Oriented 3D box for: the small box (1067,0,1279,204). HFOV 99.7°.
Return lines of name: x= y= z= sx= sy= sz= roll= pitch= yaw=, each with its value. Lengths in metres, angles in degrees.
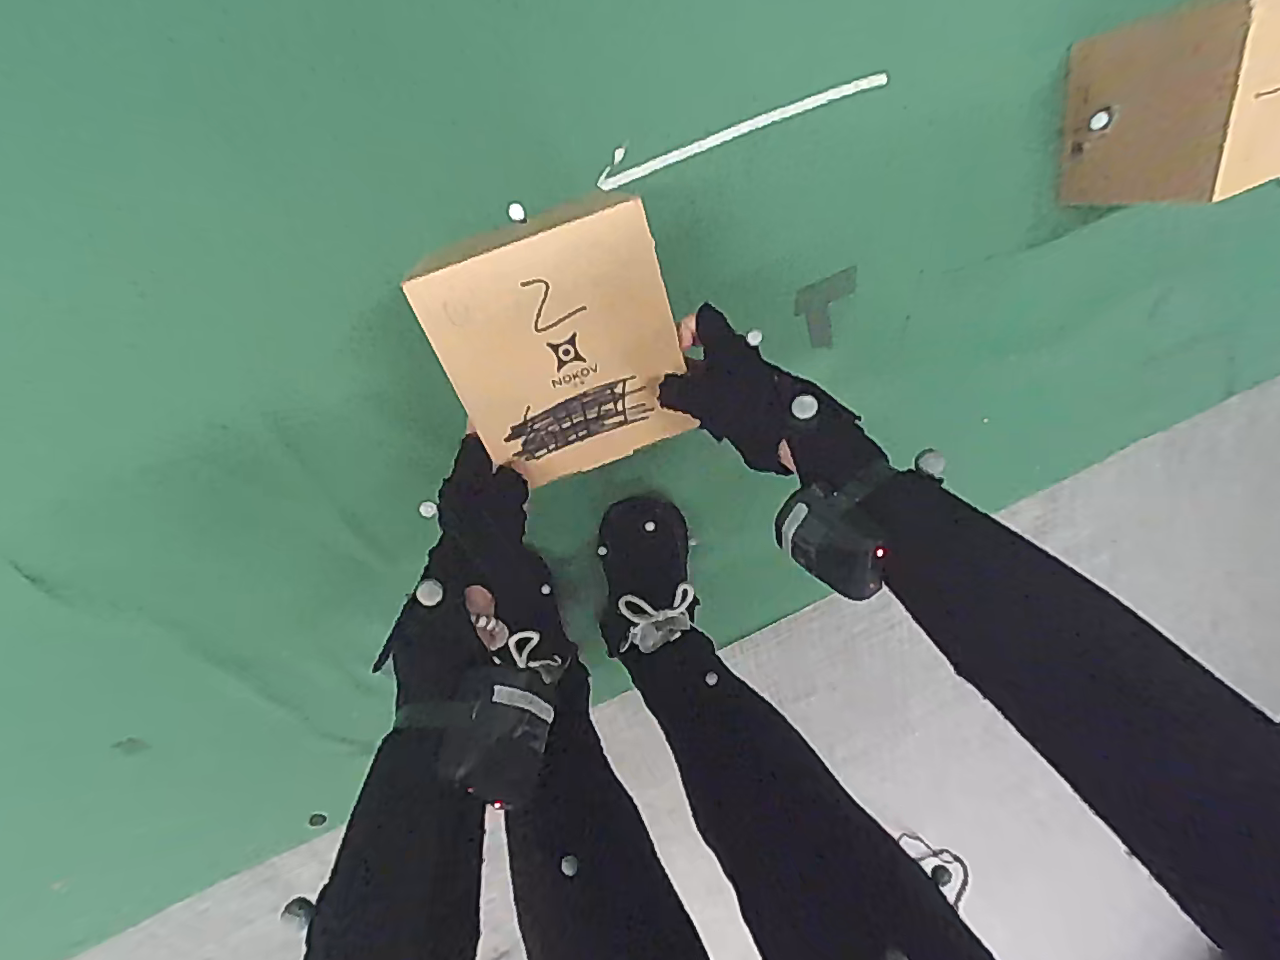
small box: x=0.590 y=-0.396 z=0.547 sx=0.179 sy=0.176 sz=0.168 roll=-23 pitch=120 yaw=-4
